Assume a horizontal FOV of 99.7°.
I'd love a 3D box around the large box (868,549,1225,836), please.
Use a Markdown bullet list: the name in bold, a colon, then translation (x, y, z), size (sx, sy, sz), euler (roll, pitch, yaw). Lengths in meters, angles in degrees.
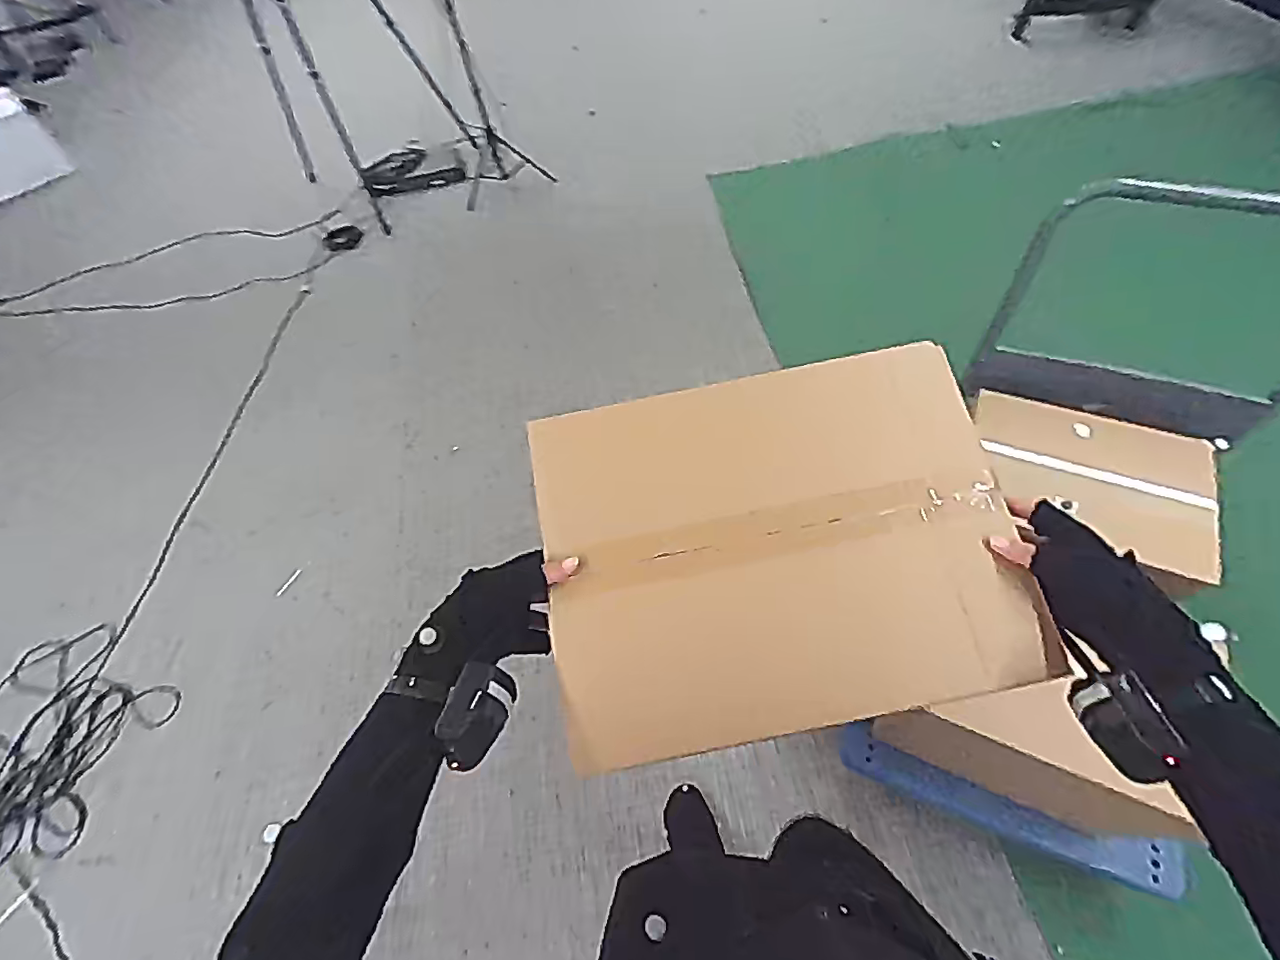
- **large box**: translation (0.685, 0.384, 0.982), size (0.408, 0.320, 0.320), euler (20, 61, 17)
